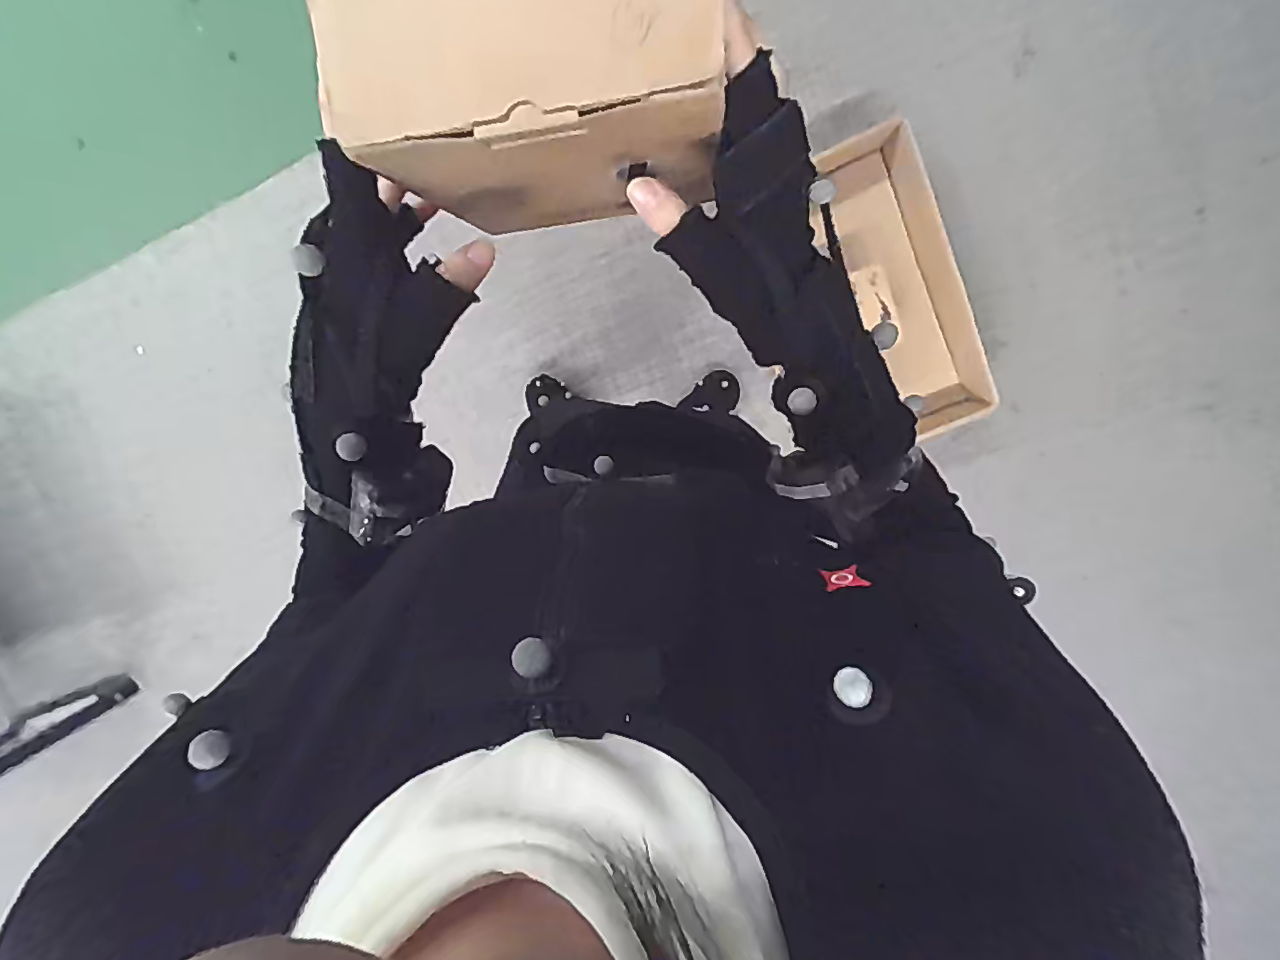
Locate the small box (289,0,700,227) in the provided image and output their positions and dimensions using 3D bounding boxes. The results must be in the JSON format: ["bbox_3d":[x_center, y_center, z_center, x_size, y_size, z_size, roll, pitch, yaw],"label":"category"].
[{"bbox_3d":[-0.058,-0.246,0.285,0.168,0.176,0.179,-6,102,8],"label":"small box"}]
